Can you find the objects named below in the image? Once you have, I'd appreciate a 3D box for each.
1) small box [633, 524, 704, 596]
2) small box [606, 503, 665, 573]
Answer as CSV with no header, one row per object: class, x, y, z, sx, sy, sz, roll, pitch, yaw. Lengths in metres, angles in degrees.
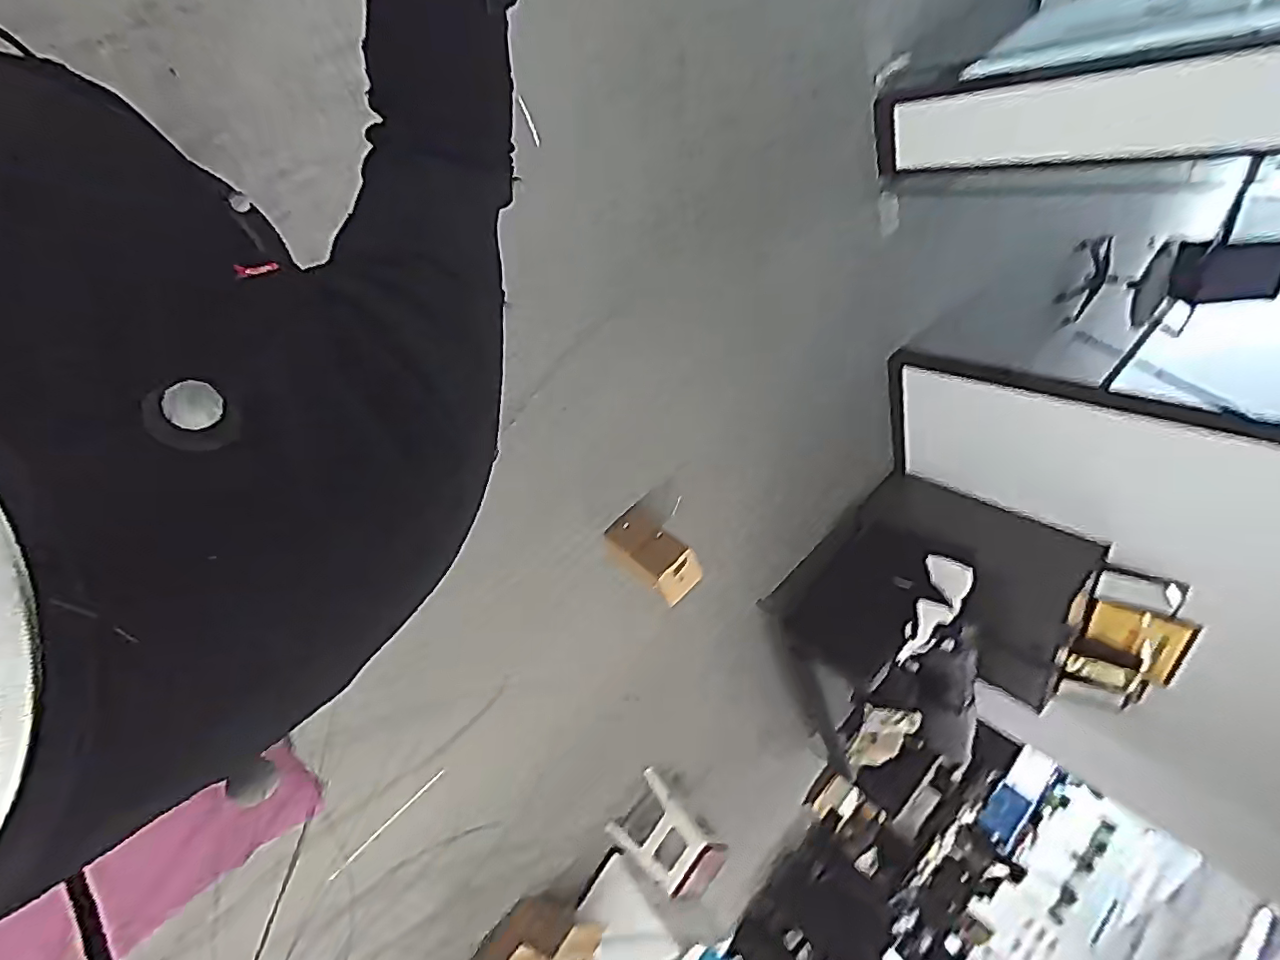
small box,0.101,0.283,1.971,0.168,0.176,0.179,-41,133,-17
small box,0.000,0.218,2.082,0.168,0.176,0.179,-40,132,-18
